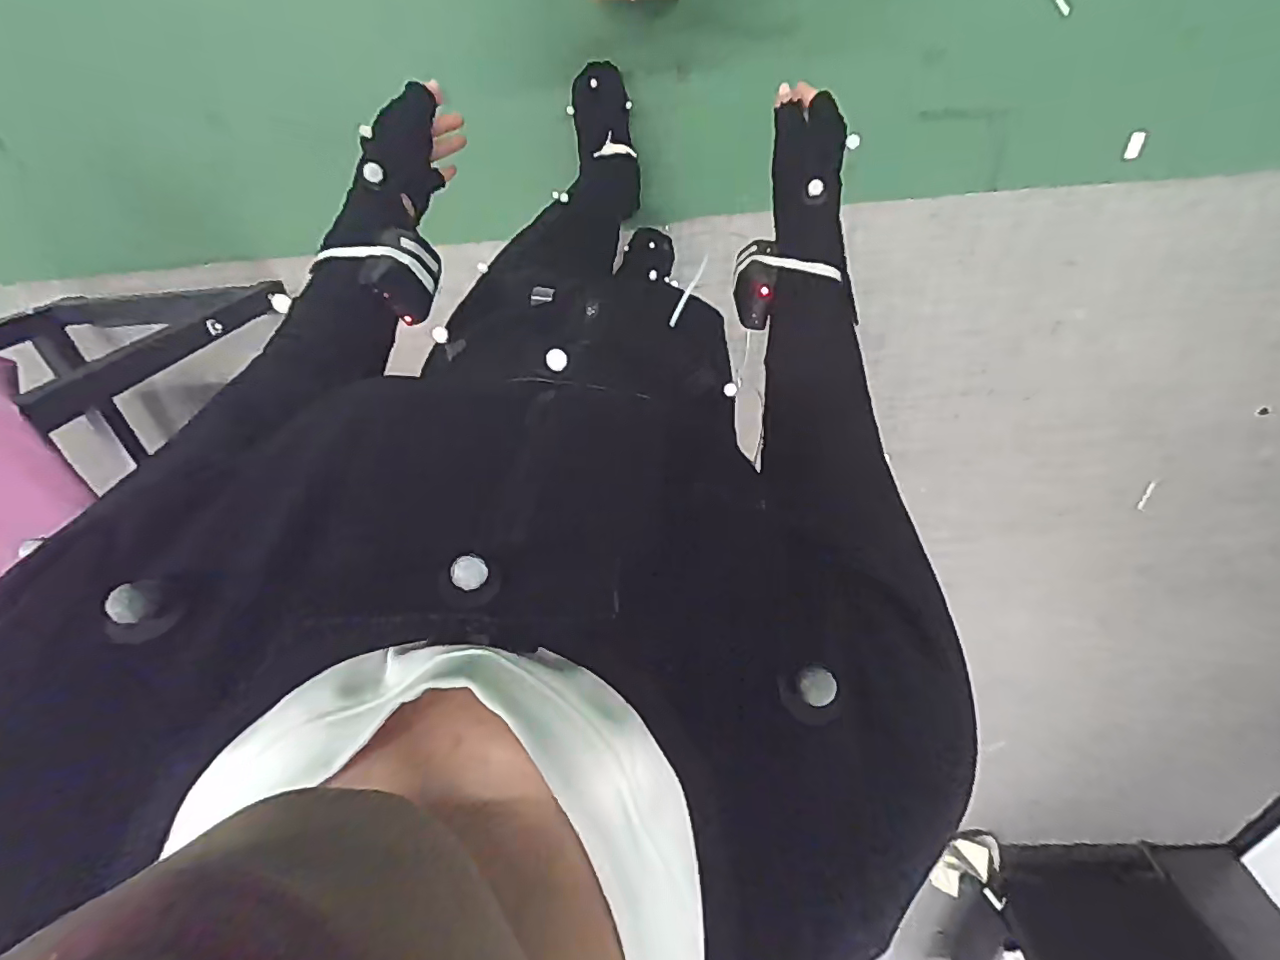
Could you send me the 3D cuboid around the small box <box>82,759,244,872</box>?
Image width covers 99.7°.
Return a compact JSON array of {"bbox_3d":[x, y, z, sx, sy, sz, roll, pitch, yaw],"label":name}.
[{"bbox_3d":[-1.049,0.744,1.208,0.179,0.176,0.168,-2,124,2],"label":"small box"}]
